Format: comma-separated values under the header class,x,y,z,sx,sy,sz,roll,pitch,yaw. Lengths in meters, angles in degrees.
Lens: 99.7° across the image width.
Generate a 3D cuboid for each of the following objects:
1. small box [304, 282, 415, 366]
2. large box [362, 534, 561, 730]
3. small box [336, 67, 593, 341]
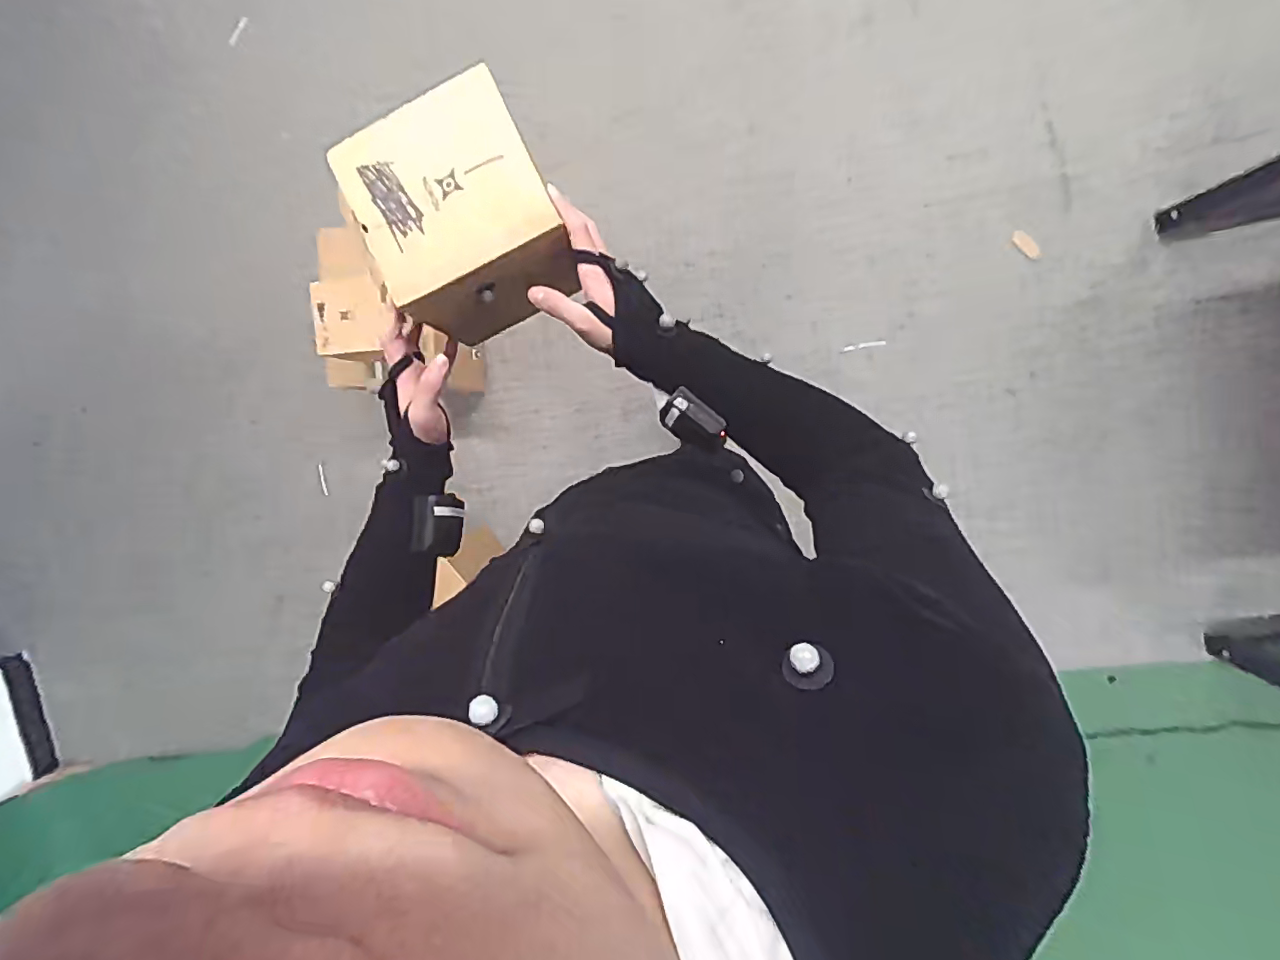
class,x,y,z,sx,sy,sz,roll,pitch,yaw
small box,-0.659,-0.367,1.296,0.179,0.176,0.168,-3,96,7
large box,-0.510,0.430,1.612,0.320,0.320,0.408,-41,90,11
small box,-0.169,-0.269,0.576,0.179,0.176,0.168,-24,89,4
